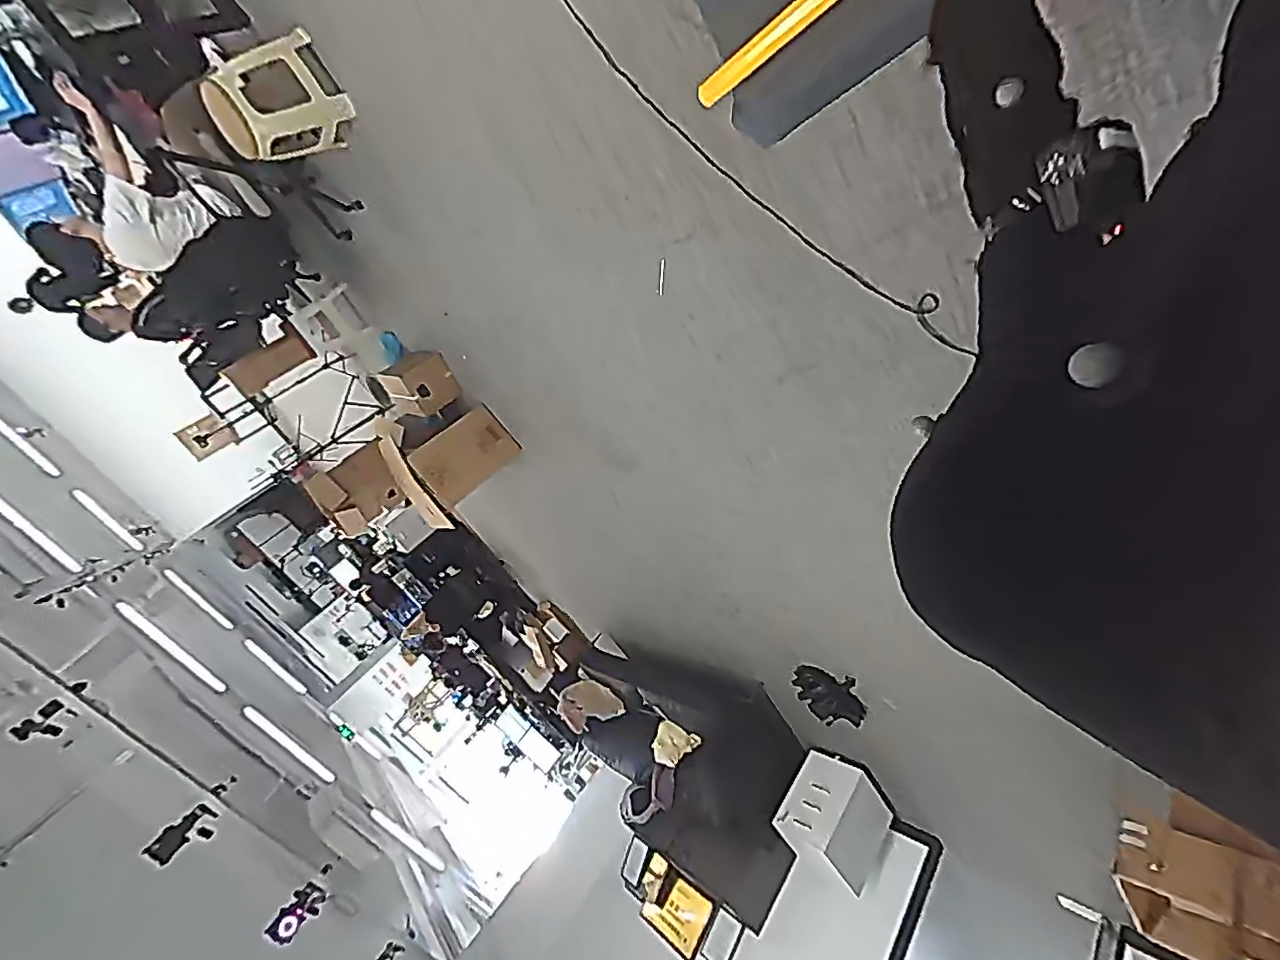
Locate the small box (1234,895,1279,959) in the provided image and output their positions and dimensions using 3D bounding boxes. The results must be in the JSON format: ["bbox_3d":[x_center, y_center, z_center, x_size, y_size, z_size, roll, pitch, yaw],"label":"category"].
[{"bbox_3d":[1.660,1.221,1.377,0.179,0.176,0.168,53,149,-16],"label":"small box"}]
